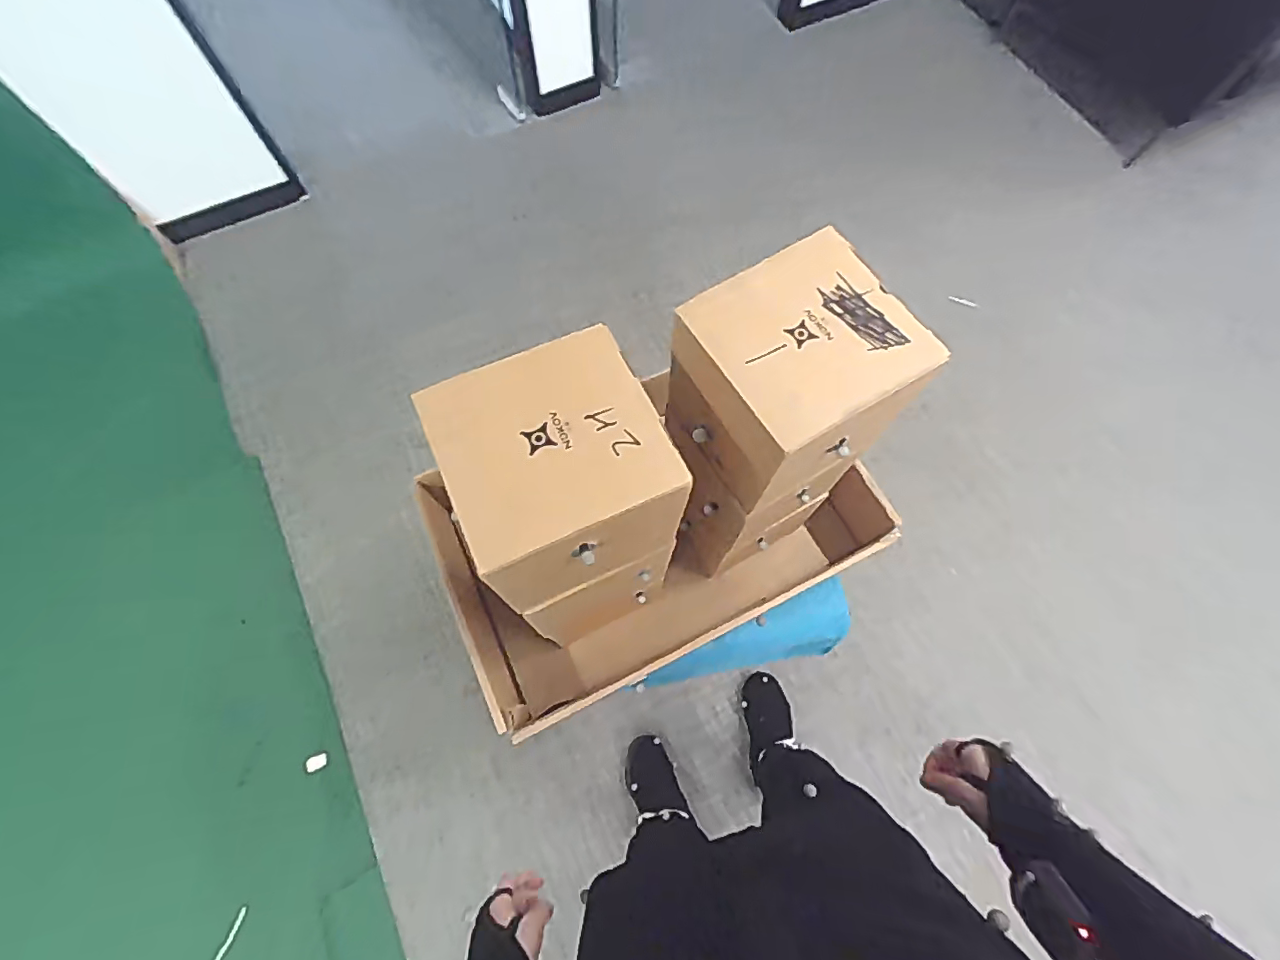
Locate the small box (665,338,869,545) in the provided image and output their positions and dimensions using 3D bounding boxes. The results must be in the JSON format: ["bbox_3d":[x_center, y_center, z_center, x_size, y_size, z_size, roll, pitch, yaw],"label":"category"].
[{"bbox_3d":[0.147,-0.039,0.689,0.179,0.176,0.168,-30,71,-9],"label":"small box"}]

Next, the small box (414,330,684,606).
[{"bbox_3d":[-0.076,0.000,0.503,0.179,0.176,0.168,-23,70,-11],"label":"small box"}]

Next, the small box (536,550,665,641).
[{"bbox_3d":[-0.077,0.125,0.807,0.179,0.176,0.168,-26,70,-11],"label":"small box"}]
